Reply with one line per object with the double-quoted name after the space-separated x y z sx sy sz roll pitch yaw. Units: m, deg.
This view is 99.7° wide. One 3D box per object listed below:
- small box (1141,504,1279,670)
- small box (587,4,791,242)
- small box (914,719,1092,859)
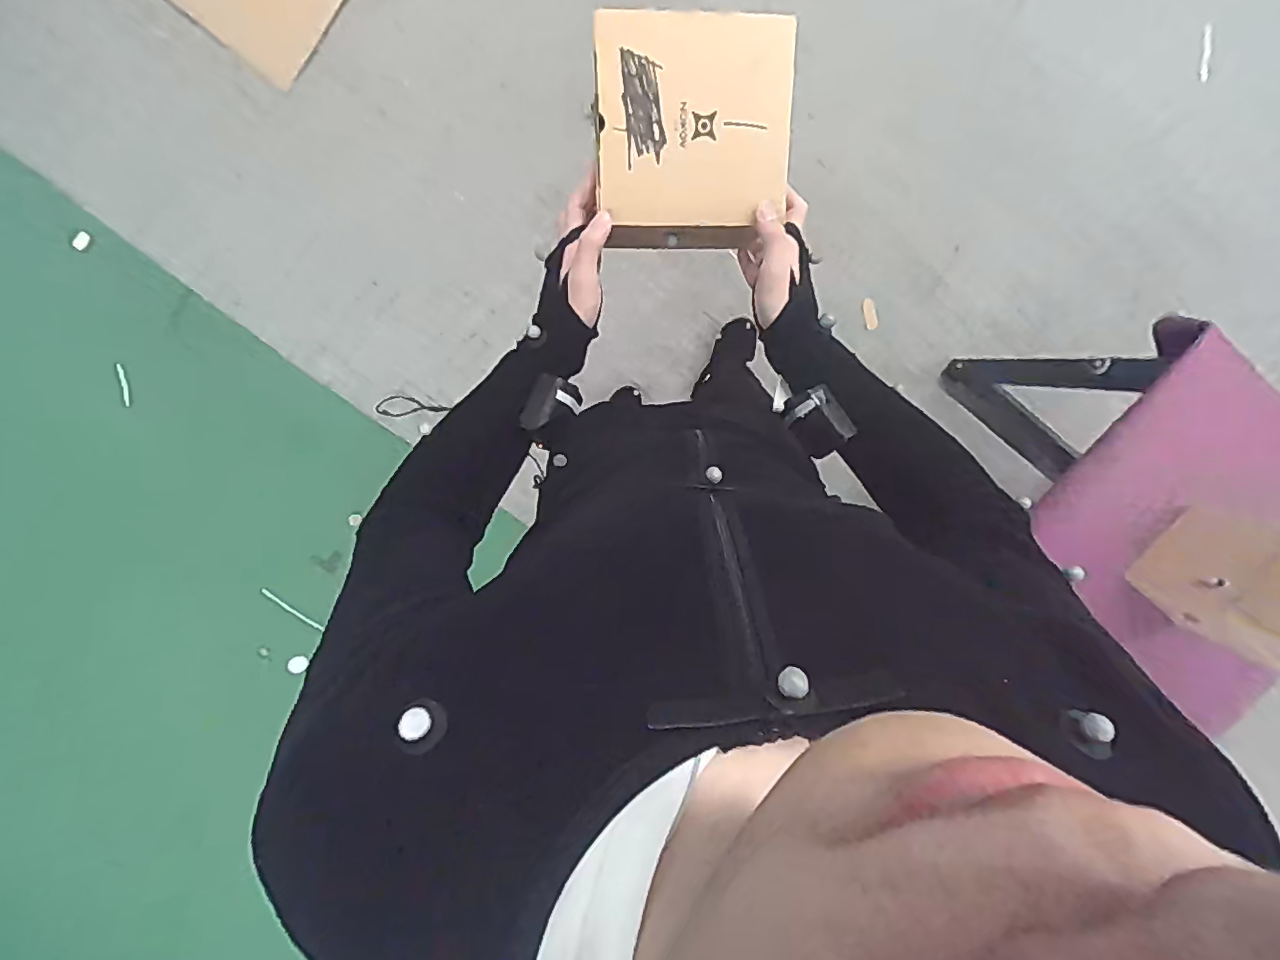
0.996 0.168 0.894 0.168 0.176 0.179 37 99 -10 "small box"
0.038 -0.343 0.555 0.179 0.176 0.168 -2 107 -5 "small box"
0.632 0.579 0.973 0.168 0.176 0.179 36 99 -10 "small box"
